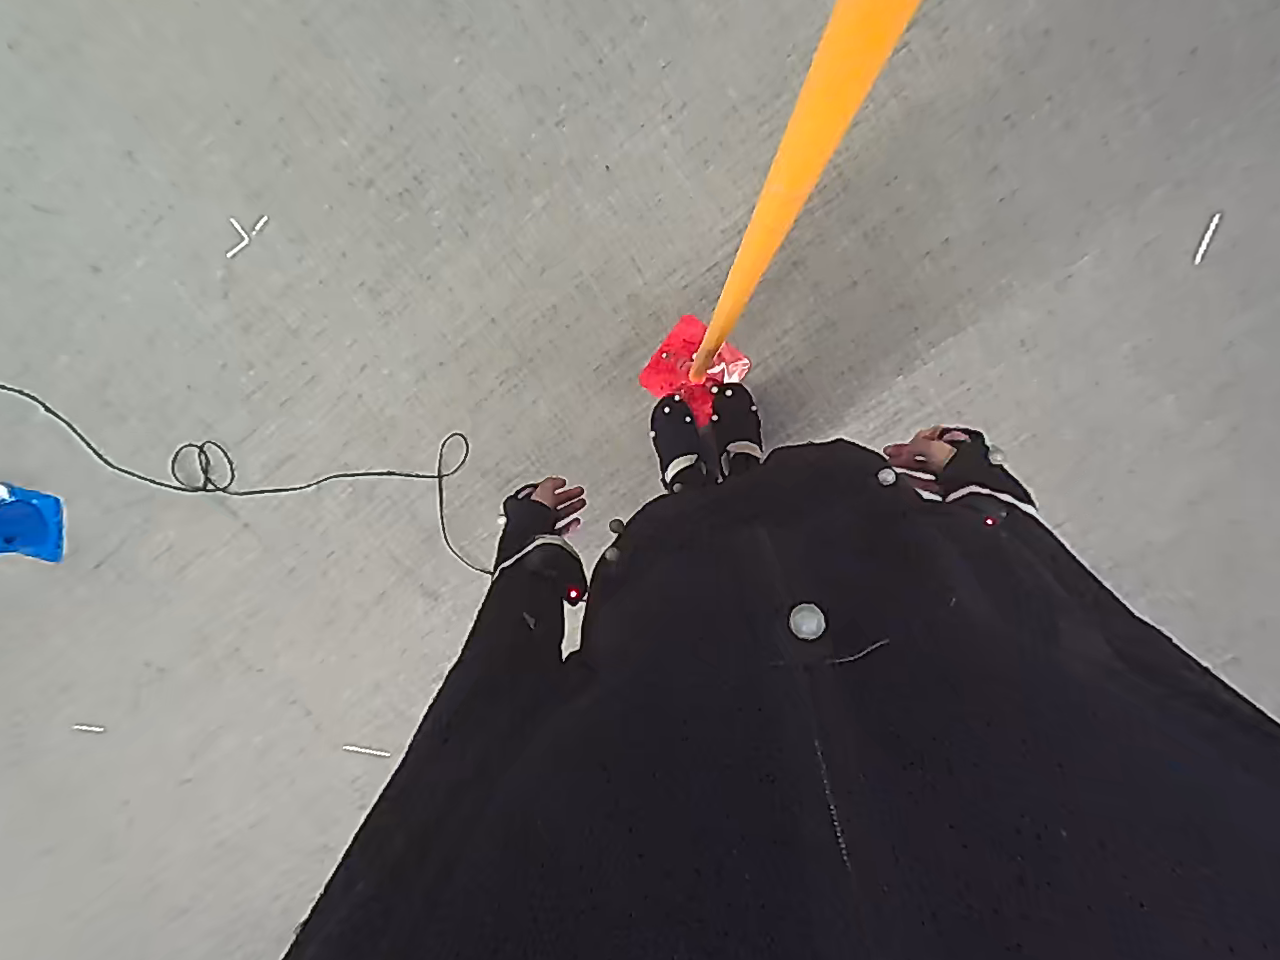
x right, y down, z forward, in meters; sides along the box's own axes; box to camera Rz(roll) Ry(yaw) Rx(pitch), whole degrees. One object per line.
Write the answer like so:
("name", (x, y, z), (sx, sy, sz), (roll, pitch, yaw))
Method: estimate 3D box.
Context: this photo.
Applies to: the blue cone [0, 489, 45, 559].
("blue cone", (-1.722, 0.158, 1.310), (0.192, 0.380, 0.193), (13, 105, 1))
